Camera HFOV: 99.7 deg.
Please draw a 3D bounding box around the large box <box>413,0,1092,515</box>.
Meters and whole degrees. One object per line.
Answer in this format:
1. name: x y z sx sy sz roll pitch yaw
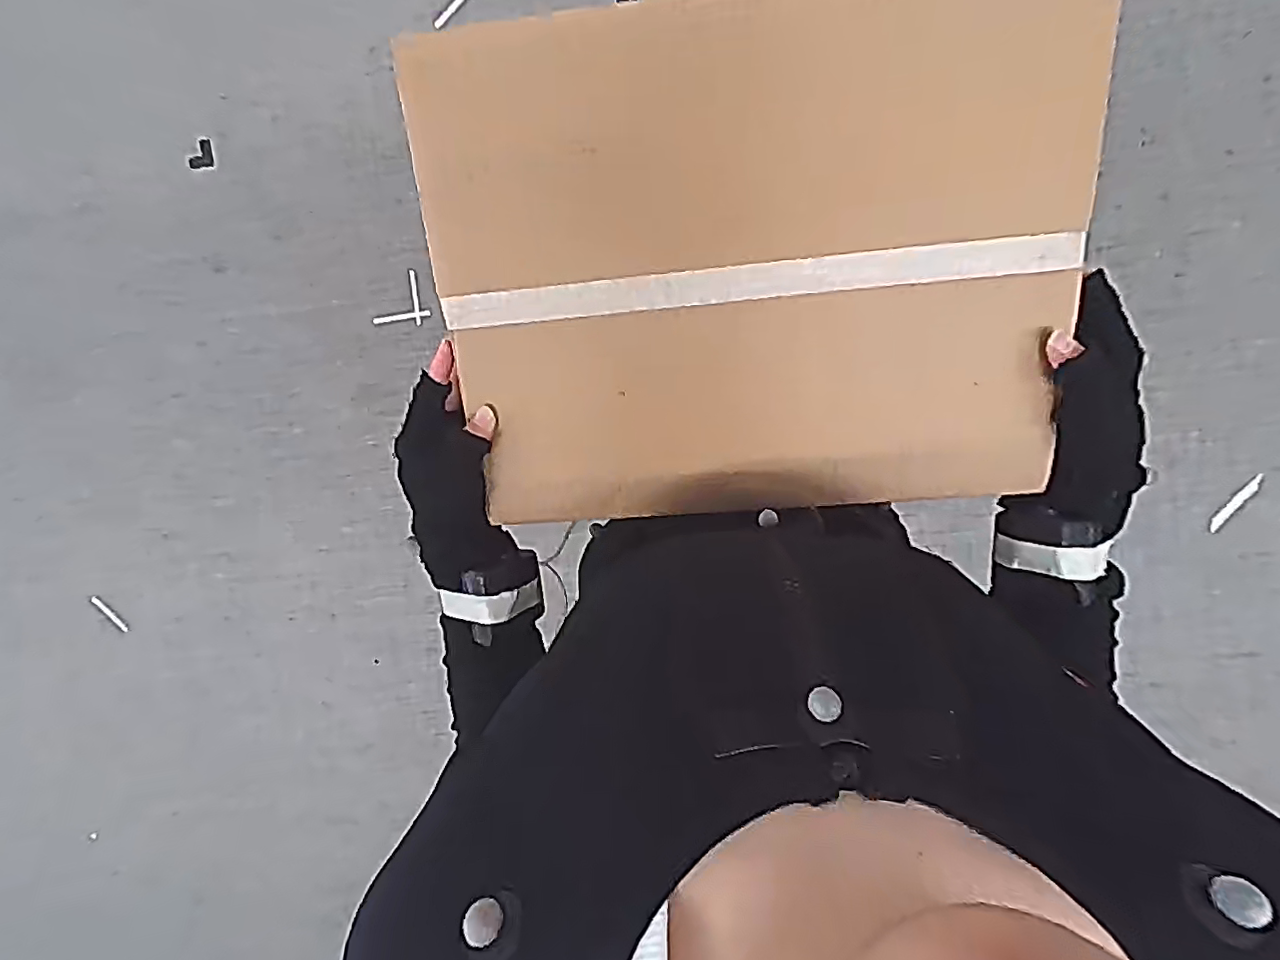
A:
1. large box: 0.077 -0.178 0.501 0.408 0.320 0.320 -4 109 5
